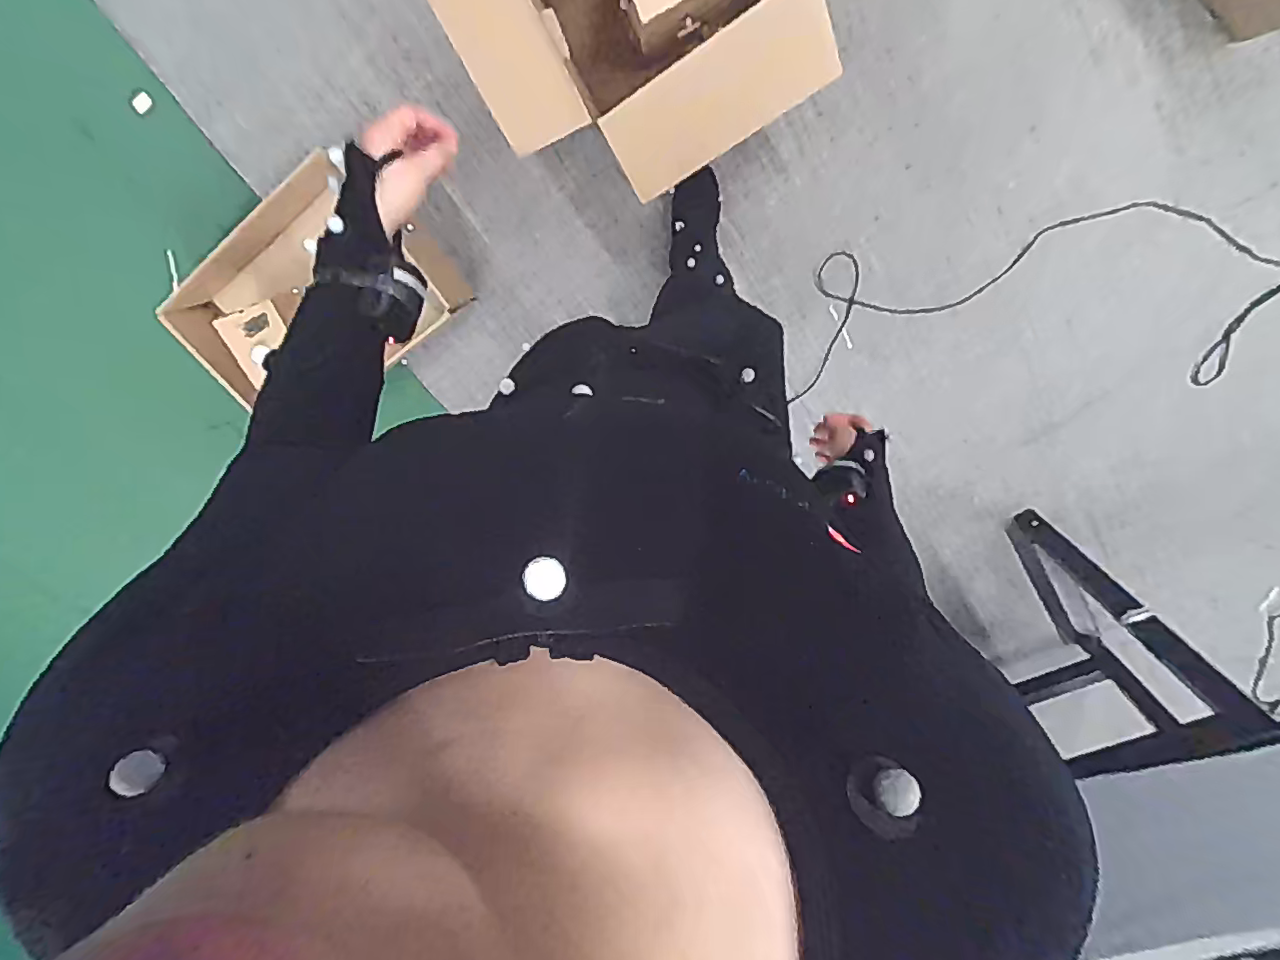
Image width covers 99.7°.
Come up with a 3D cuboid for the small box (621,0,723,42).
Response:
[{"bbox_3d":[0.039,-0.832,0.848,0.168,0.176,0.179,-22,113,11],"label":"small box"}]

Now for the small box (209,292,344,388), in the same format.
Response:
[{"bbox_3d":[-0.871,-0.346,1.313,0.168,0.176,0.179,-15,114,11],"label":"small box"}]
